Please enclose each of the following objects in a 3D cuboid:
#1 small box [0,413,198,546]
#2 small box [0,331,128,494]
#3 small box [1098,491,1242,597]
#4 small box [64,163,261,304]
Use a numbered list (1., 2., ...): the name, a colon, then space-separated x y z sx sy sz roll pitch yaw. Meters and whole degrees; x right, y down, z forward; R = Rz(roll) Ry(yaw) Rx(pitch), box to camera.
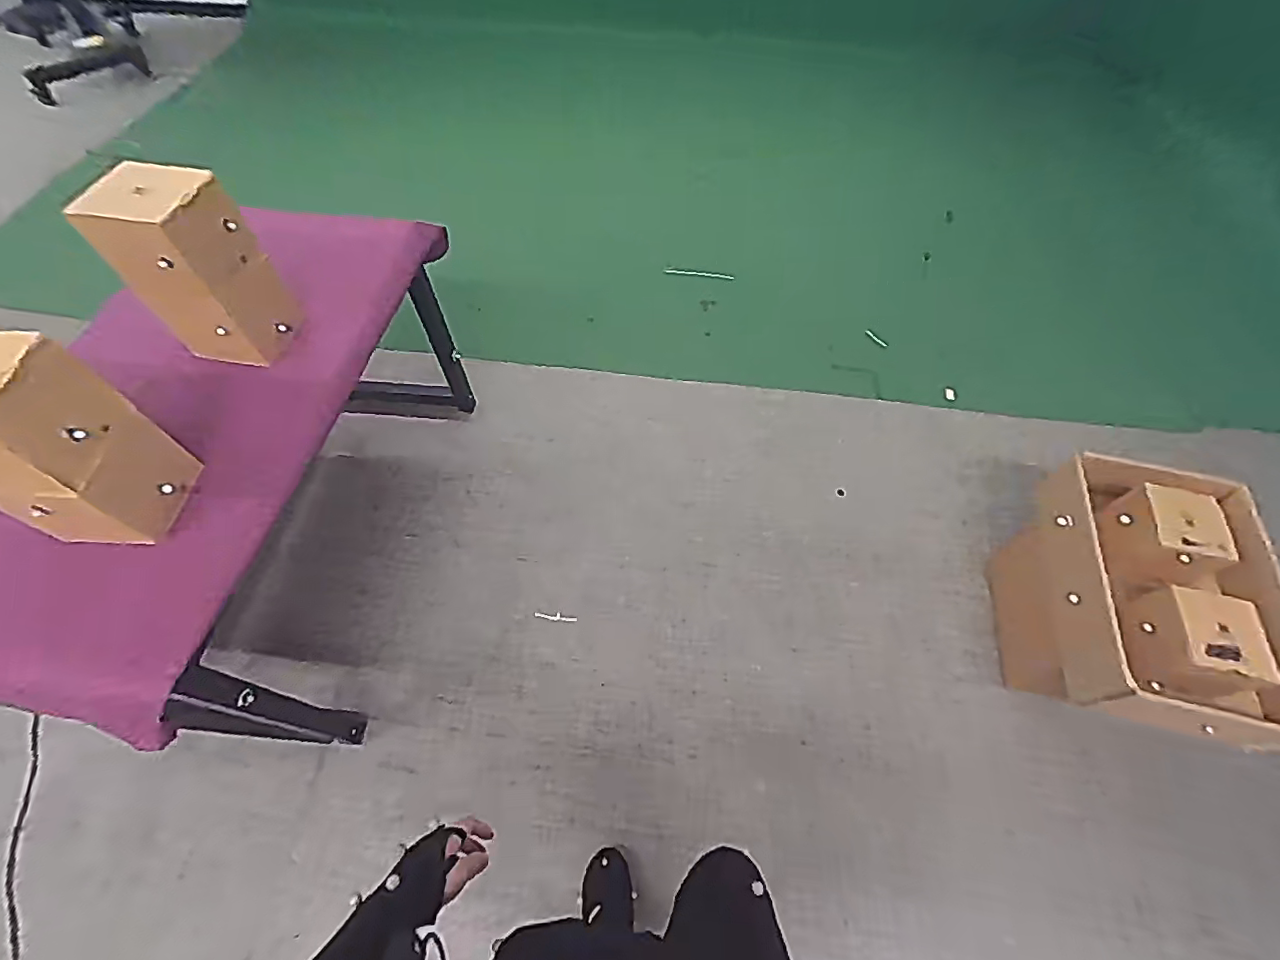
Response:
1. small box: -0.907 0.000 0.899 0.179 0.176 0.168 3 58 1
2. small box: -0.908 -0.091 0.765 0.179 0.176 0.168 1 57 -1
3. small box: 1.262 0.158 1.307 0.168 0.176 0.179 13 57 6
4. small box: -0.854 -0.446 0.993 0.179 0.176 0.168 8 57 4
